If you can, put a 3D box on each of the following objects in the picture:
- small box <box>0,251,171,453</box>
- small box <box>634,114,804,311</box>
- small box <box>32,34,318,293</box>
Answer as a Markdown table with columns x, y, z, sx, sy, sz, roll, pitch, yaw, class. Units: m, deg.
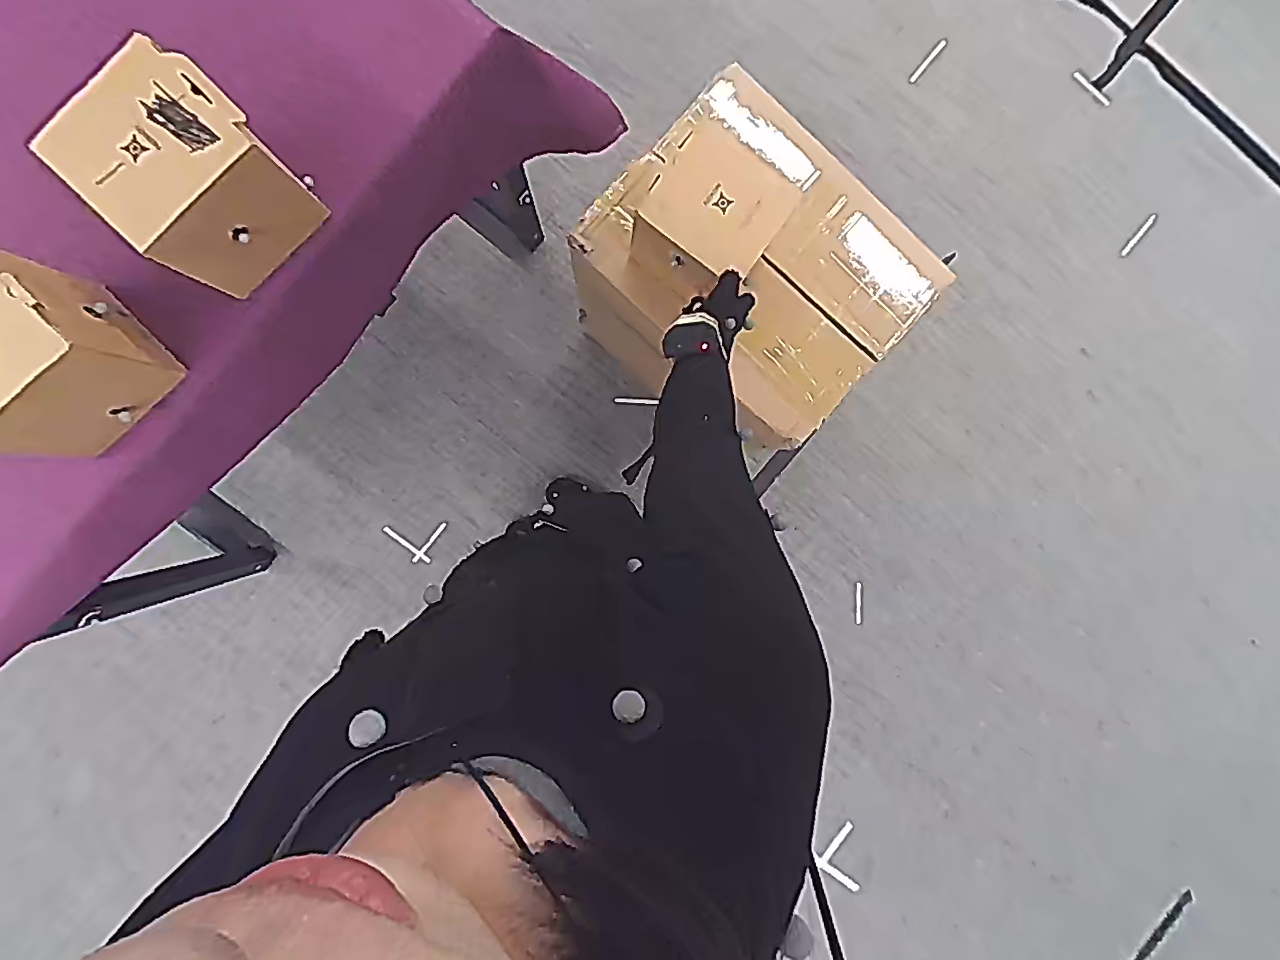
| x | y | z | sx | sy | sz | roll | pitch | yaw | class |
| --- | --- | --- | --- | --- | --- | --- | --- | --- | --- |
| -0.735 | -0.150 | 0.657 | 0.179 | 0.176 | 0.168 | -44 | 93 | -2 | small box |
| 0.104 | -0.381 | 0.809 | 0.179 | 0.176 | 0.168 | 36 | 91 | -5 | small box |
| -0.540 | -0.368 | 0.665 | 0.168 | 0.176 | 0.179 | 45 | 89 | -2 | small box |
